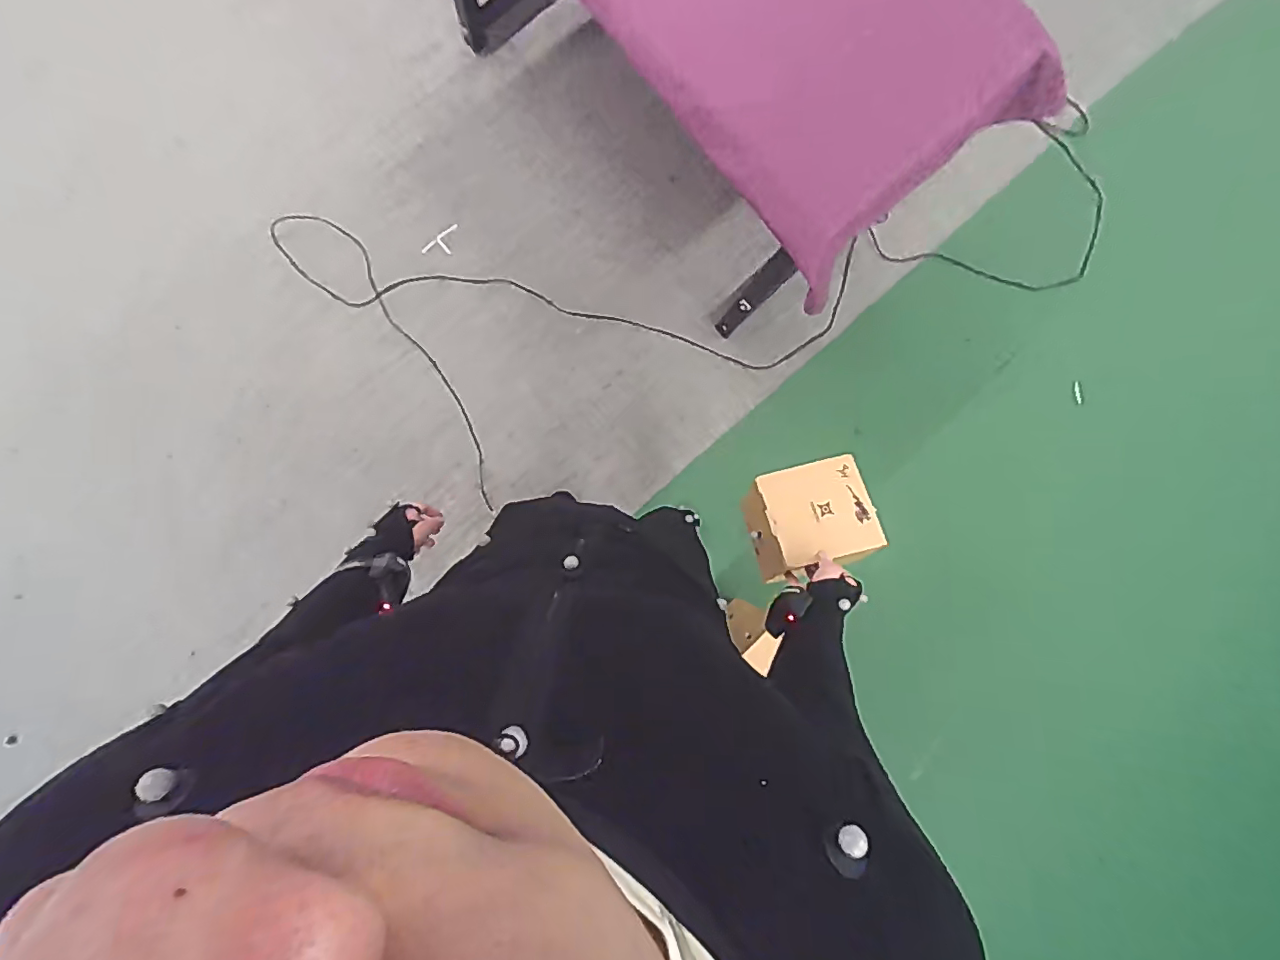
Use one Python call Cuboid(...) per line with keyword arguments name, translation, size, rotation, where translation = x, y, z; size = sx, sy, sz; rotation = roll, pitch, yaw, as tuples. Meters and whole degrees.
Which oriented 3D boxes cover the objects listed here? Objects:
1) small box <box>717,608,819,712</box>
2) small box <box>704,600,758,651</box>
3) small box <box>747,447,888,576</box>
Cuboid(name="small box", translation=(0.331, 0.467, 1.435), size=(0.179, 0.176, 0.168), rotation=(-43, 94, -5))
Cuboid(name="small box", translation=(0.313, 0.474, 1.599), size=(0.168, 0.176, 0.179), rotation=(-43, 95, -5))
Cuboid(name="small box", translation=(0.297, 0.064, 0.958), size=(0.179, 0.176, 0.168), rotation=(-15, 72, -3))
